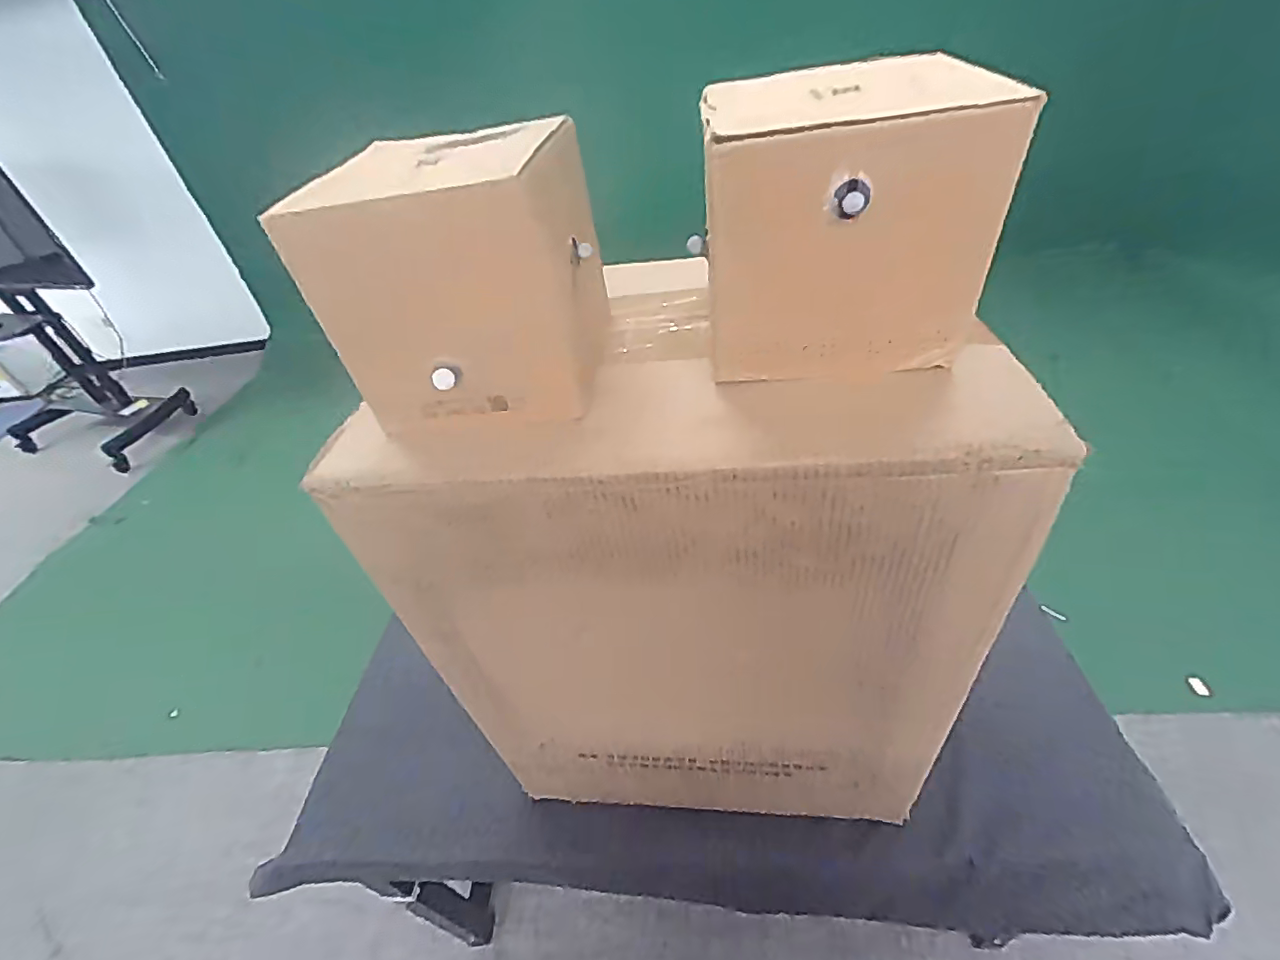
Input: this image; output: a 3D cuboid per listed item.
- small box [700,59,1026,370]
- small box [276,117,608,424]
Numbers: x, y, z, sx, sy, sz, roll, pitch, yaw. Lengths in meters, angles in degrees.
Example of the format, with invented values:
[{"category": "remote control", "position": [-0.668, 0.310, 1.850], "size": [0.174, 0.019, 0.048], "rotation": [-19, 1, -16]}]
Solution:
[{"category": "small box", "position": [0.137, -0.195, 0.410], "size": [0.179, 0.176, 0.168], "rotation": [-1, 44, 7]}, {"category": "small box", "position": [-0.125, -0.164, 0.430], "size": [0.168, 0.176, 0.179], "rotation": [-3, 43, 9]}]
